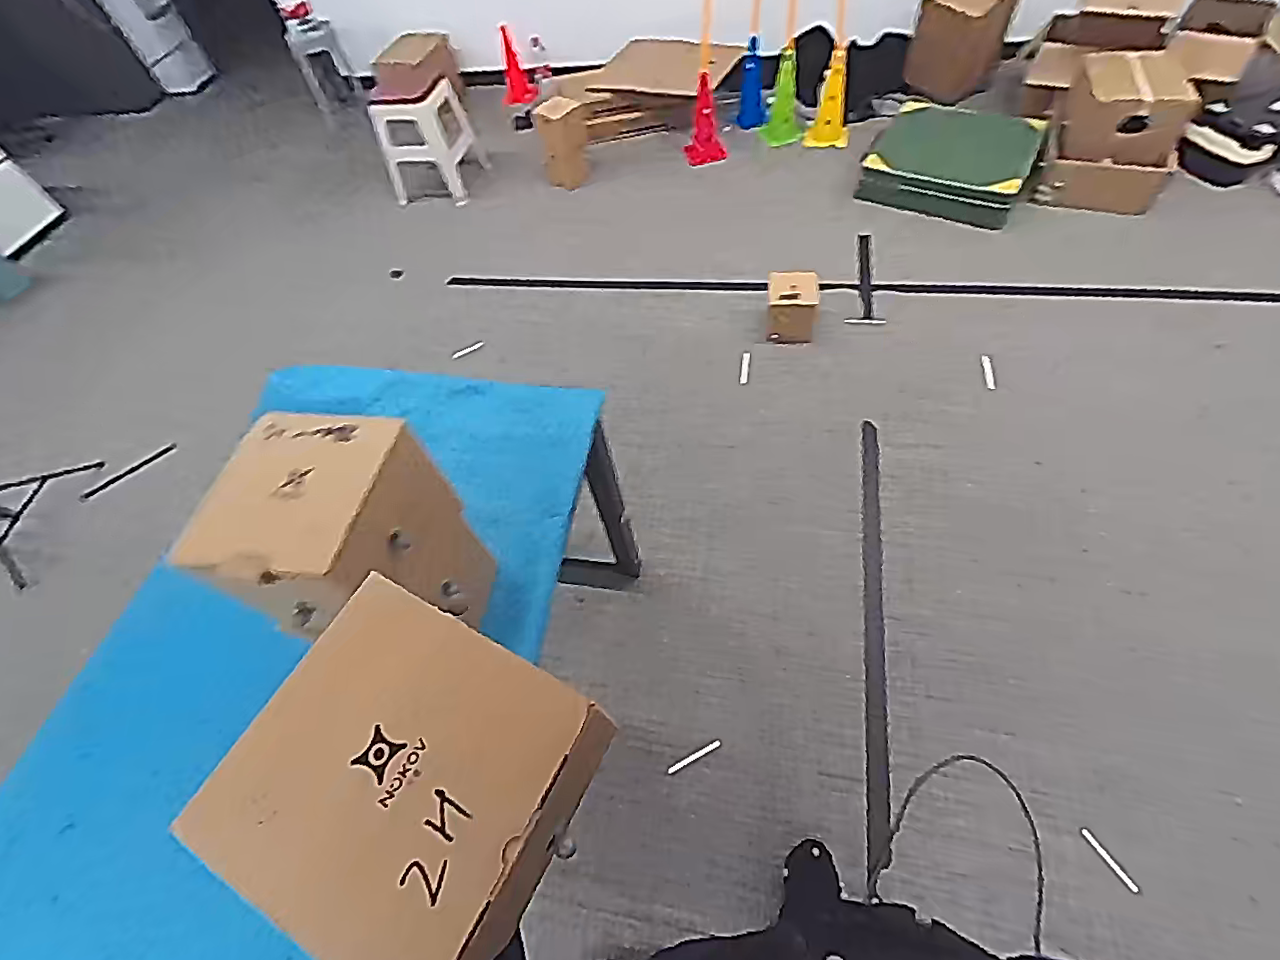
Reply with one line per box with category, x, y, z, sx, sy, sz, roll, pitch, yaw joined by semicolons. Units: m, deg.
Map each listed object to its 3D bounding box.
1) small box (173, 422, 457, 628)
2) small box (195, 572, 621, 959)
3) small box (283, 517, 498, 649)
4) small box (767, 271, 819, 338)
small box;-0.321;0.057;0.582;0.168;0.176;0.179;1;57;9
small box;-0.130;0.196;0.375;0.179;0.176;0.168;29;69;15
small box;-0.308;0.150;0.714;0.168;0.176;0.179;4;58;11
small box;0.552;-0.630;1.954;0.168;0.176;0.179;4;57;11
